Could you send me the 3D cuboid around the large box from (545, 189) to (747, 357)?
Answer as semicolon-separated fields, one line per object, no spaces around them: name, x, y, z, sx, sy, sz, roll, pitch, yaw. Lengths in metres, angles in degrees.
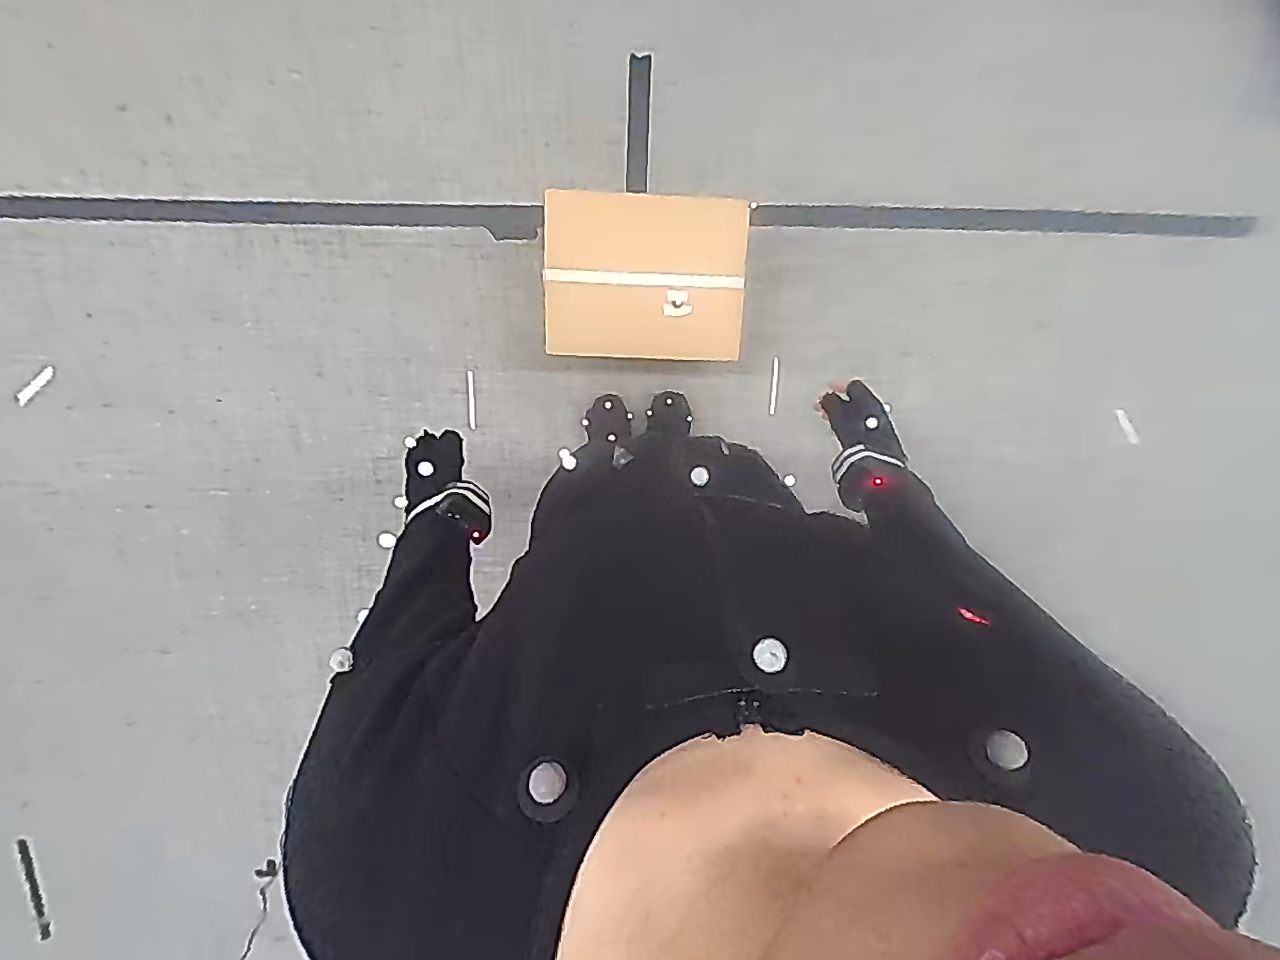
large box;0.000;-0.445;1.232;0.408;0.320;0.320;1;104;-4
